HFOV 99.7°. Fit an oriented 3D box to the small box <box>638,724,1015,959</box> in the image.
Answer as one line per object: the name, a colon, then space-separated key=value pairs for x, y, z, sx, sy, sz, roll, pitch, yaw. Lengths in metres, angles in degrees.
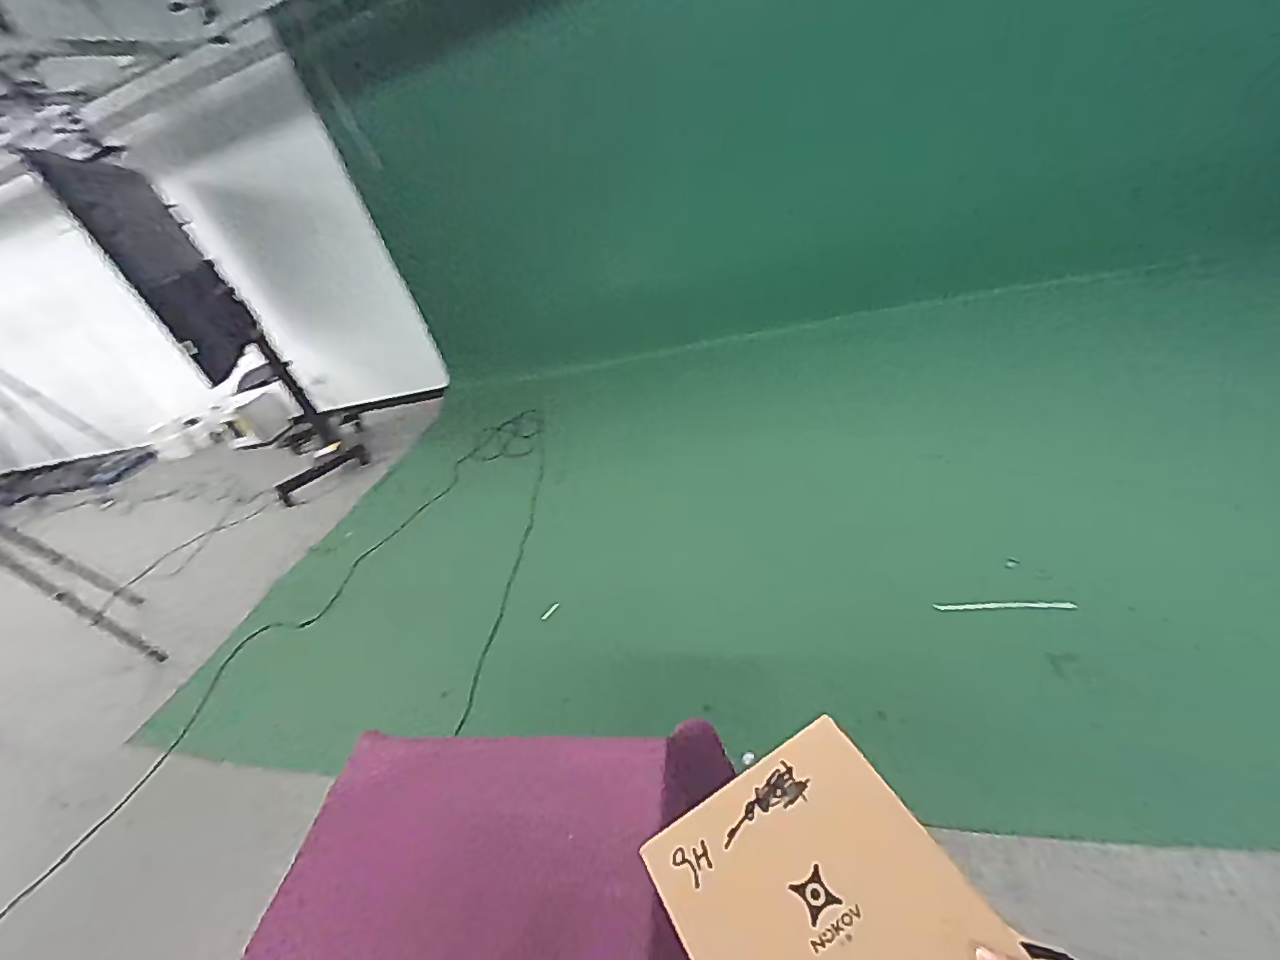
small box: x=0.122 y=0.318 z=0.383 sx=0.168 sy=0.176 sz=0.179 roll=-28 pitch=47 yaw=-13
